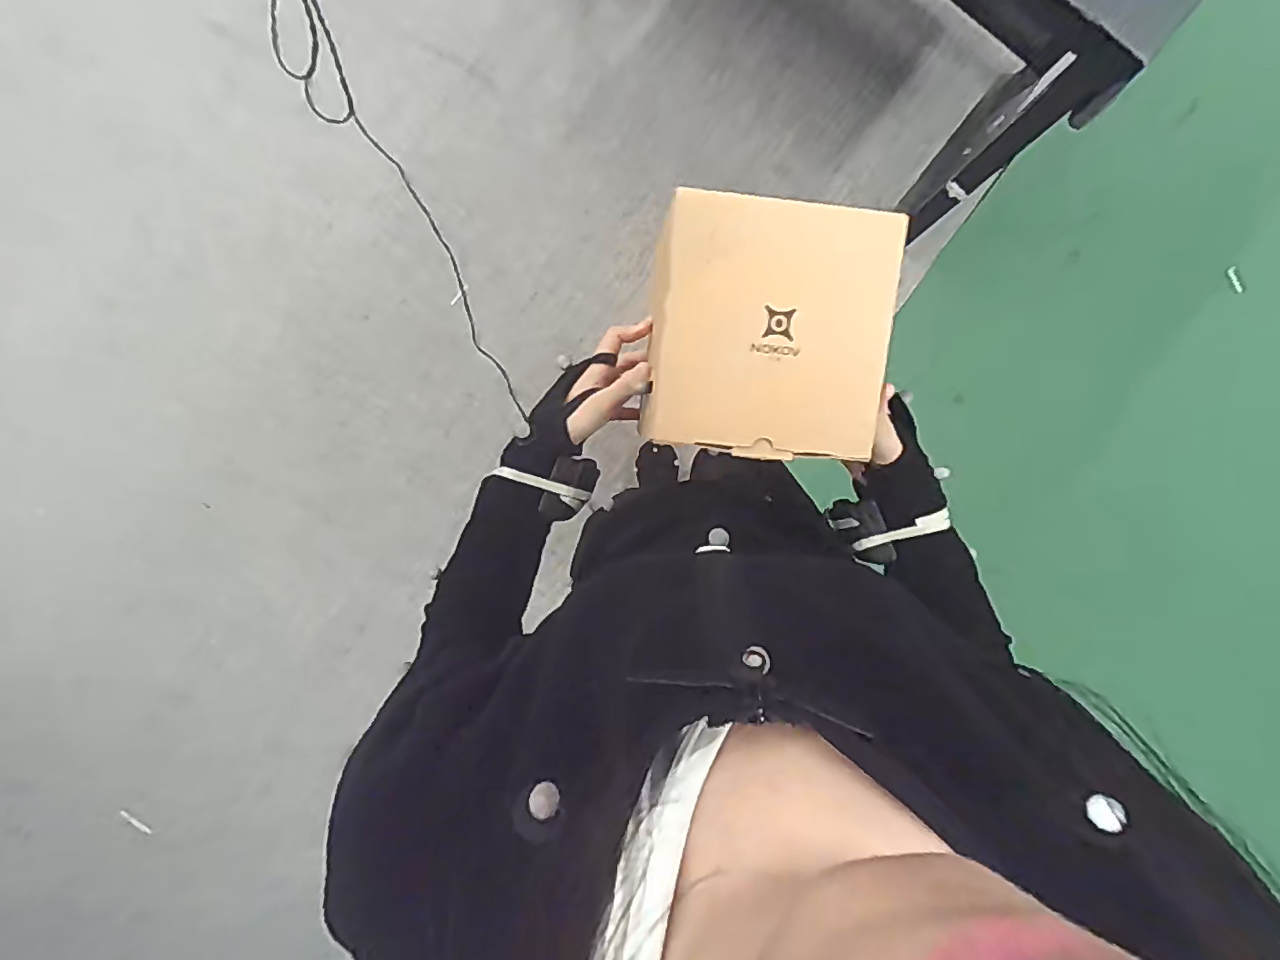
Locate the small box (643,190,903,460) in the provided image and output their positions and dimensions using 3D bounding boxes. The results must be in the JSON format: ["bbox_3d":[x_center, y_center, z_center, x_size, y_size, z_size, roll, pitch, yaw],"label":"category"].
[{"bbox_3d":[0.094,-0.119,0.468,0.168,0.176,0.179,5,98,-4],"label":"small box"}]
